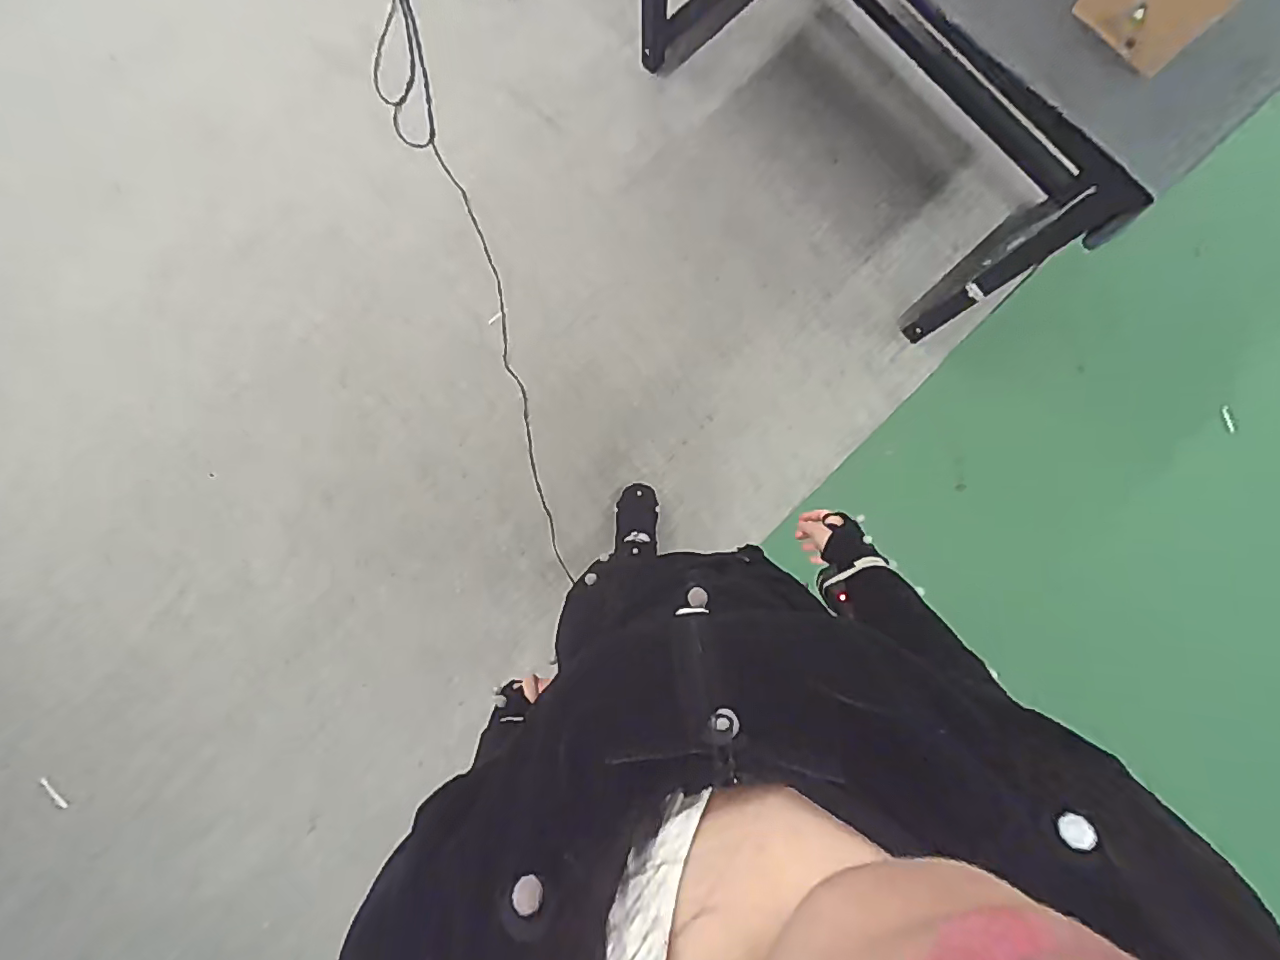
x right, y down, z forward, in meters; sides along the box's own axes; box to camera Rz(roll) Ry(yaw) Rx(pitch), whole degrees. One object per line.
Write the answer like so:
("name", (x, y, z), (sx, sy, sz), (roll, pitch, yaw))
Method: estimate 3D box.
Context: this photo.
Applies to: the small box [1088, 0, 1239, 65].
("small box", (0.800, -0.753, 0.760), (0.179, 0.176, 0.168), (-45, 85, -3))
